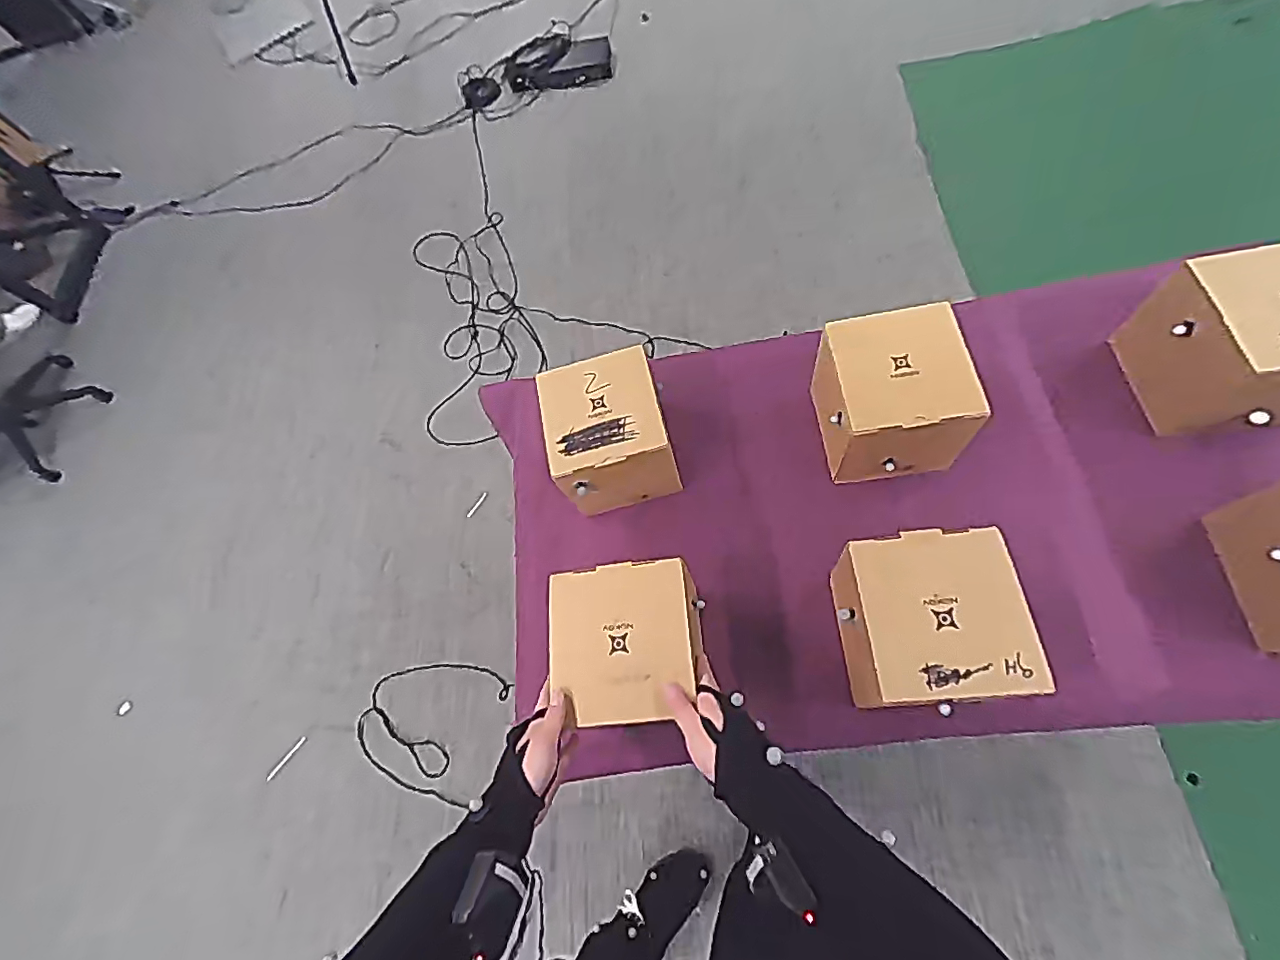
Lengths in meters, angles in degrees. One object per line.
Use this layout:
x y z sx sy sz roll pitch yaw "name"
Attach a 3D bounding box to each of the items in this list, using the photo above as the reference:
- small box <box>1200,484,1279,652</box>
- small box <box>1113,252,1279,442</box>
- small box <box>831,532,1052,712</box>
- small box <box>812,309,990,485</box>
0.800 0.097 0.597 0.168 0.176 0.179 -4 65 10 "small box"
0.785 -0.170 0.713 0.168 0.176 0.179 -7 67 9 "small box"
0.338 0.178 0.651 0.168 0.176 0.179 -7 64 8 "small box"
0.353 -0.111 0.773 0.168 0.176 0.179 -8 67 7 "small box"
